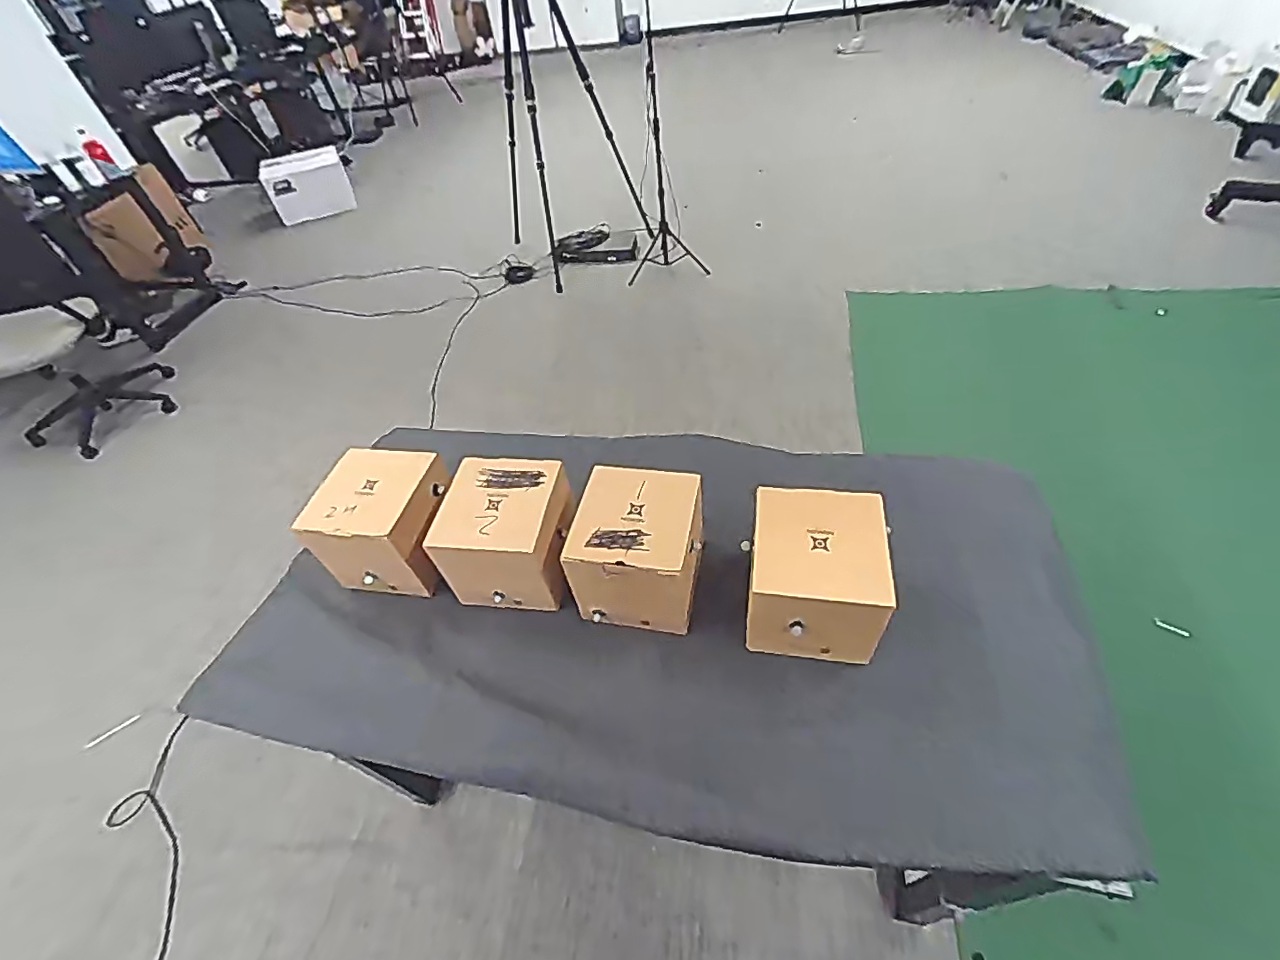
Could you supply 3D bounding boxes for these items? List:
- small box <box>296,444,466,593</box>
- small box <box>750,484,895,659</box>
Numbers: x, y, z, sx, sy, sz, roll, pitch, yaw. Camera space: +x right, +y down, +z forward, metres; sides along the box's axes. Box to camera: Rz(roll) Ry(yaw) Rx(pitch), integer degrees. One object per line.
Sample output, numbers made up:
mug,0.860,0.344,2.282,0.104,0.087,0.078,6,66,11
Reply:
small box,-0.411,0.063,0.901,0.168,0.176,0.179,4,49,11
small box,0.241,0.127,0.749,0.168,0.176,0.179,4,48,12
